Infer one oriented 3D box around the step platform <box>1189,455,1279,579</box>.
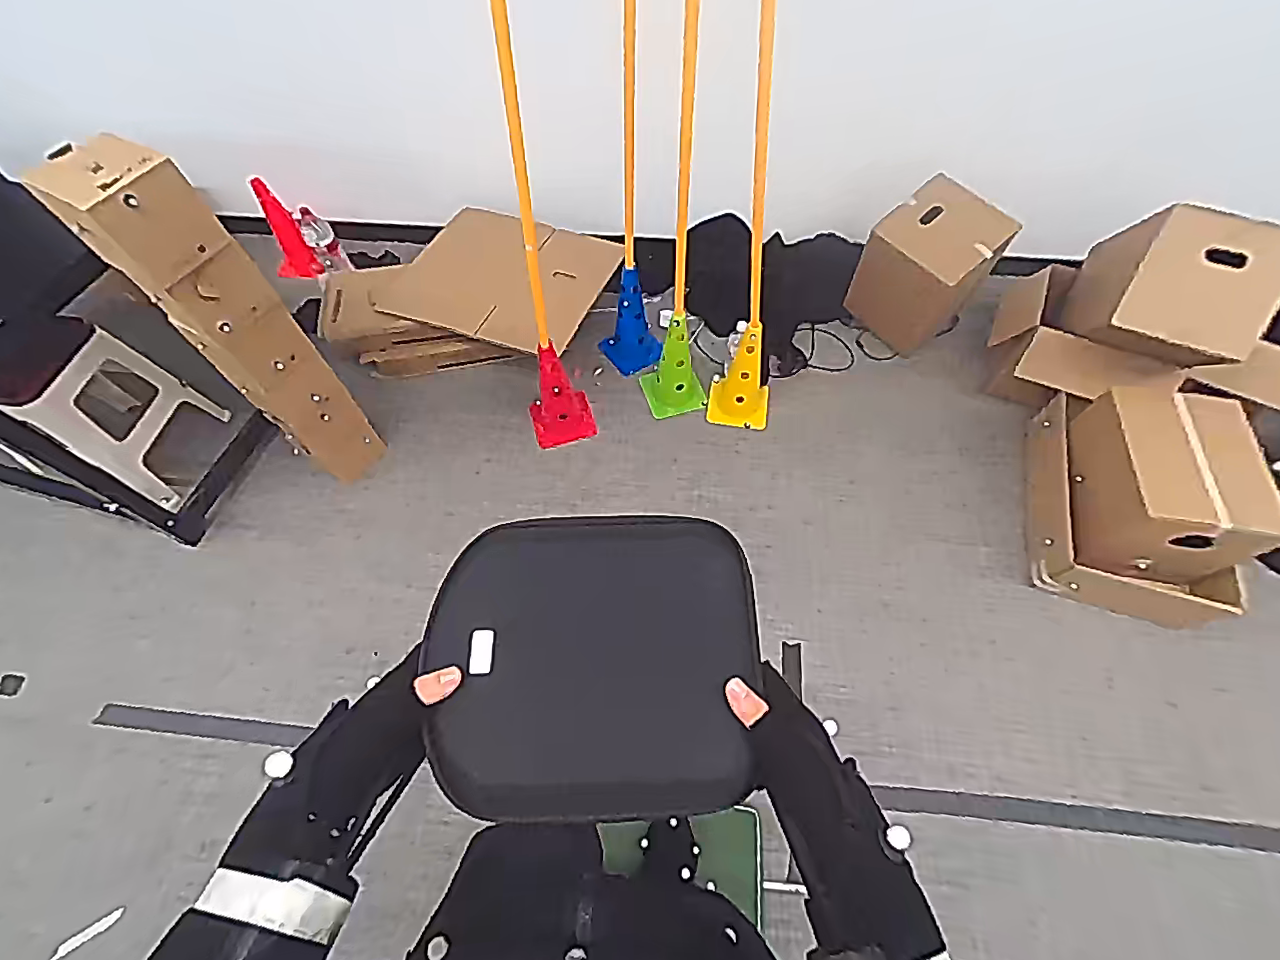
[{"bbox_3d":[2.025,0.029,1.579,0.684,0.204,0.286,-21,61,-11],"label":"step platform"}]
